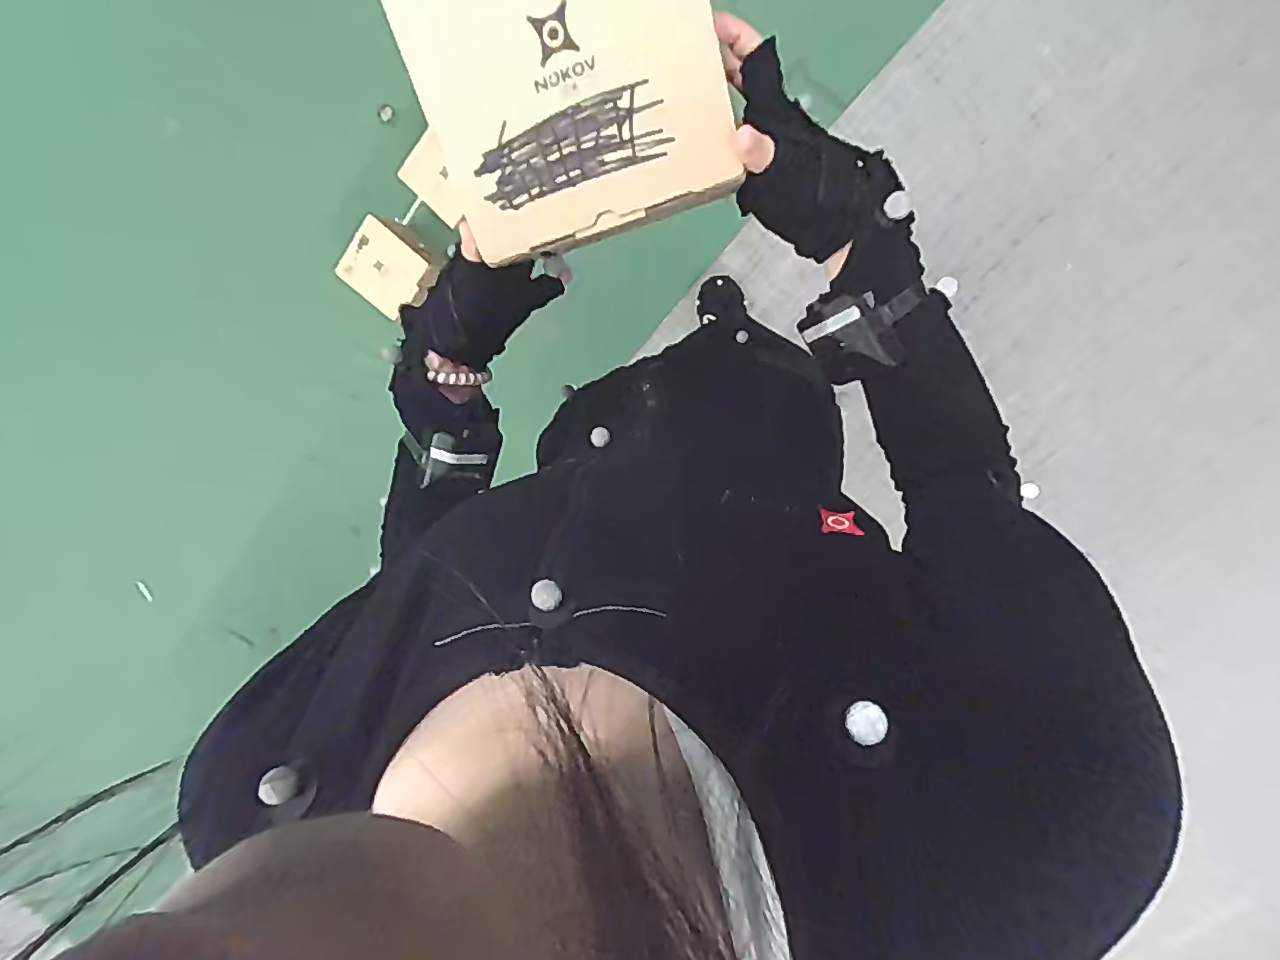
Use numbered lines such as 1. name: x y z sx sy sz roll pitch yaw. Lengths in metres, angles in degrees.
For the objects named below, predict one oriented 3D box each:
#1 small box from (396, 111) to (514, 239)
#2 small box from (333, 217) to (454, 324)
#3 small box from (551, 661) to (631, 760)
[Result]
1. small box: -0.413 -0.691 1.248 0.168 0.176 0.179 44 106 -7
2. small box: -0.591 -0.507 1.321 0.179 0.176 0.168 40 106 -8
3. small box: -0.139 0.688 1.624 0.168 0.176 0.179 30 107 -4
